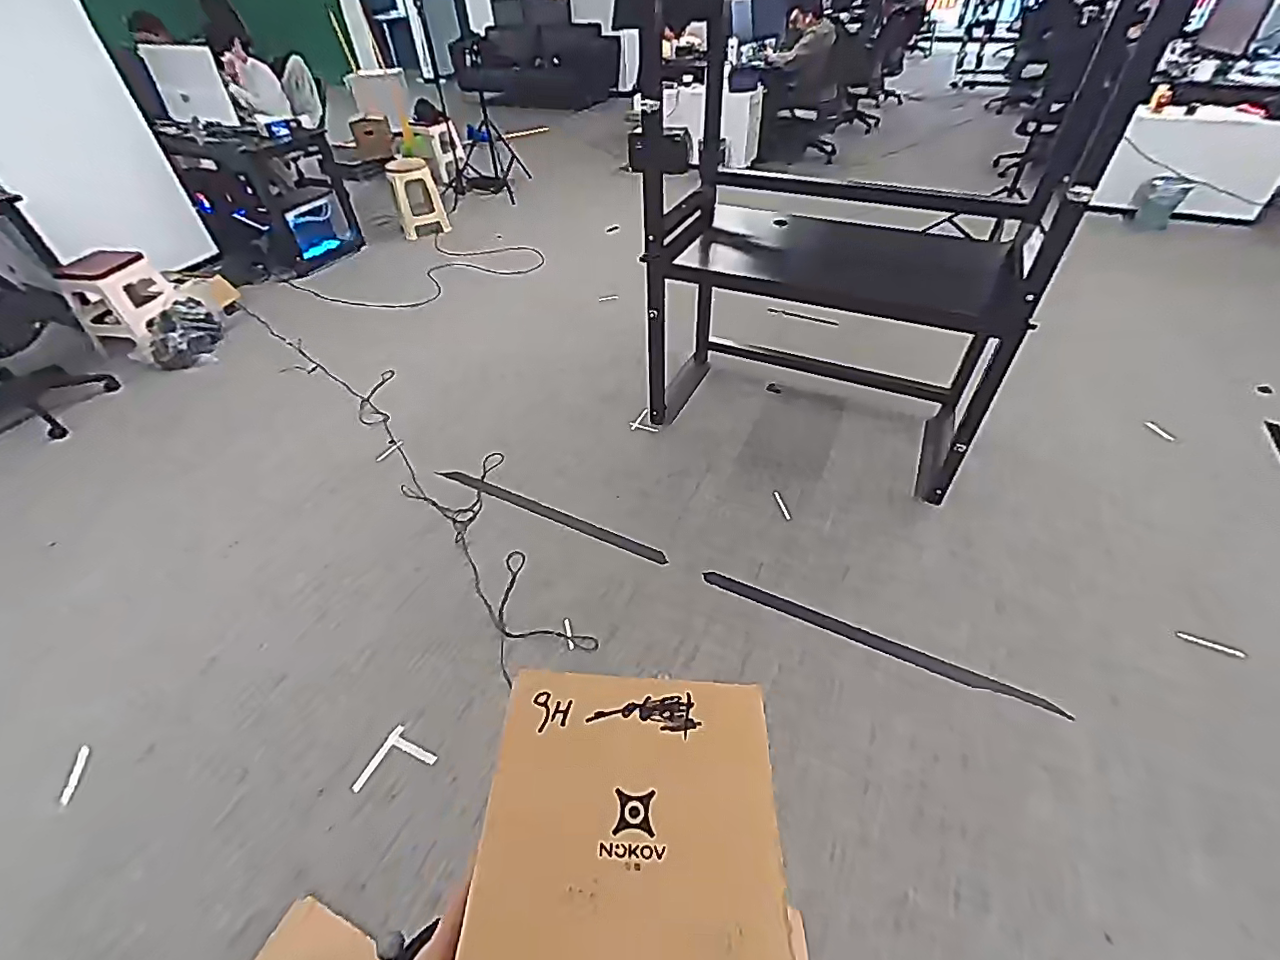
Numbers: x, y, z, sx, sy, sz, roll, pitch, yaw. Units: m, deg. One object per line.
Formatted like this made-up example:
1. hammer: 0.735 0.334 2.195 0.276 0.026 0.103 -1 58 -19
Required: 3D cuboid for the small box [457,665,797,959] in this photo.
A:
1. small box: -0.006 0.243 0.351 0.168 0.176 0.179 4 47 -1
